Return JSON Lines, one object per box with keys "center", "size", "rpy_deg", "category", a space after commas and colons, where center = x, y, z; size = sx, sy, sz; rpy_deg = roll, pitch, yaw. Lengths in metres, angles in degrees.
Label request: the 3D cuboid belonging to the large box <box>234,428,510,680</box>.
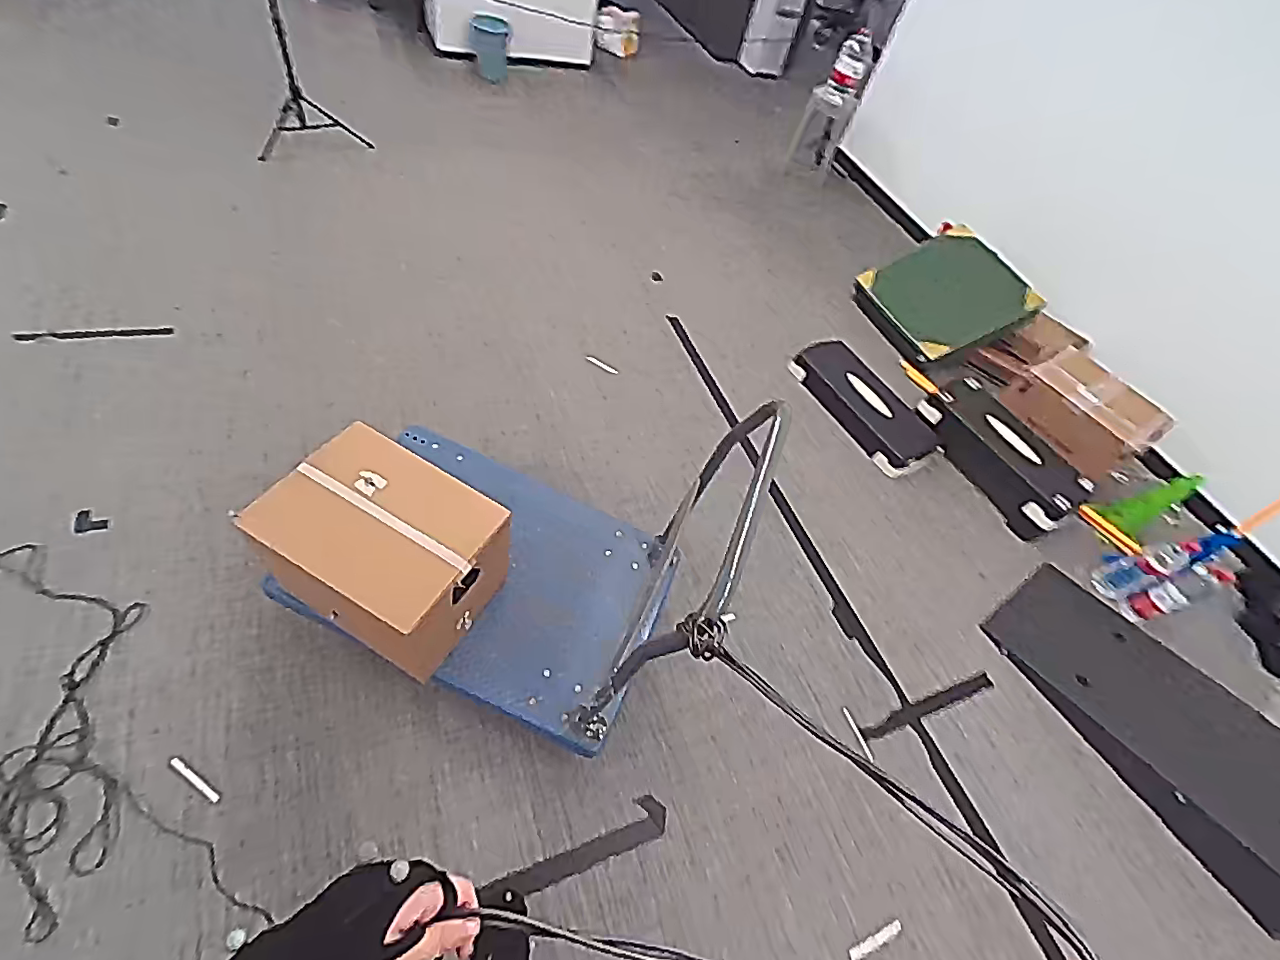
{"center": [-0.534, 0.165, 1.171], "size": [0.408, 0.320, 0.320], "rpy_deg": [29, 52, 8], "category": "large box"}
